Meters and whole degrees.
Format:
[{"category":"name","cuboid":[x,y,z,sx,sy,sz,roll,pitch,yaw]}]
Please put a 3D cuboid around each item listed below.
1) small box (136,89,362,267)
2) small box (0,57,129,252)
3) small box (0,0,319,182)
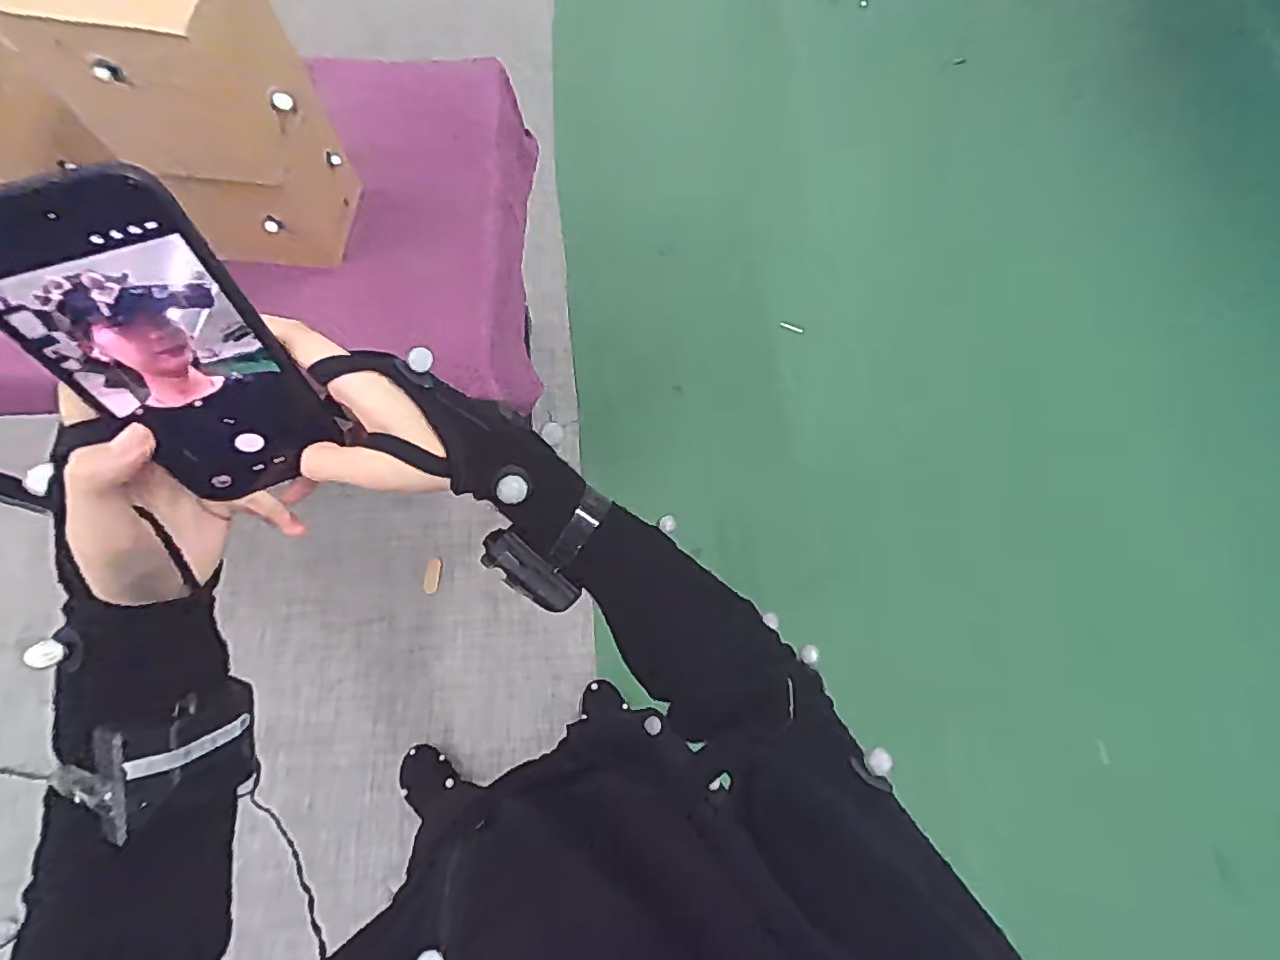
[{"category":"small box","cuboid":[-0.522,-0.424,0.756,0.179,0.176,0.168,5,70,-2]},{"category":"small box","cuboid":[-0.862,-0.432,0.732,0.179,0.176,0.168,-1,71,-5]},{"category":"small box","cuboid":[-0.501,-0.463,0.598,0.179,0.176,0.168,5,70,-3]}]
